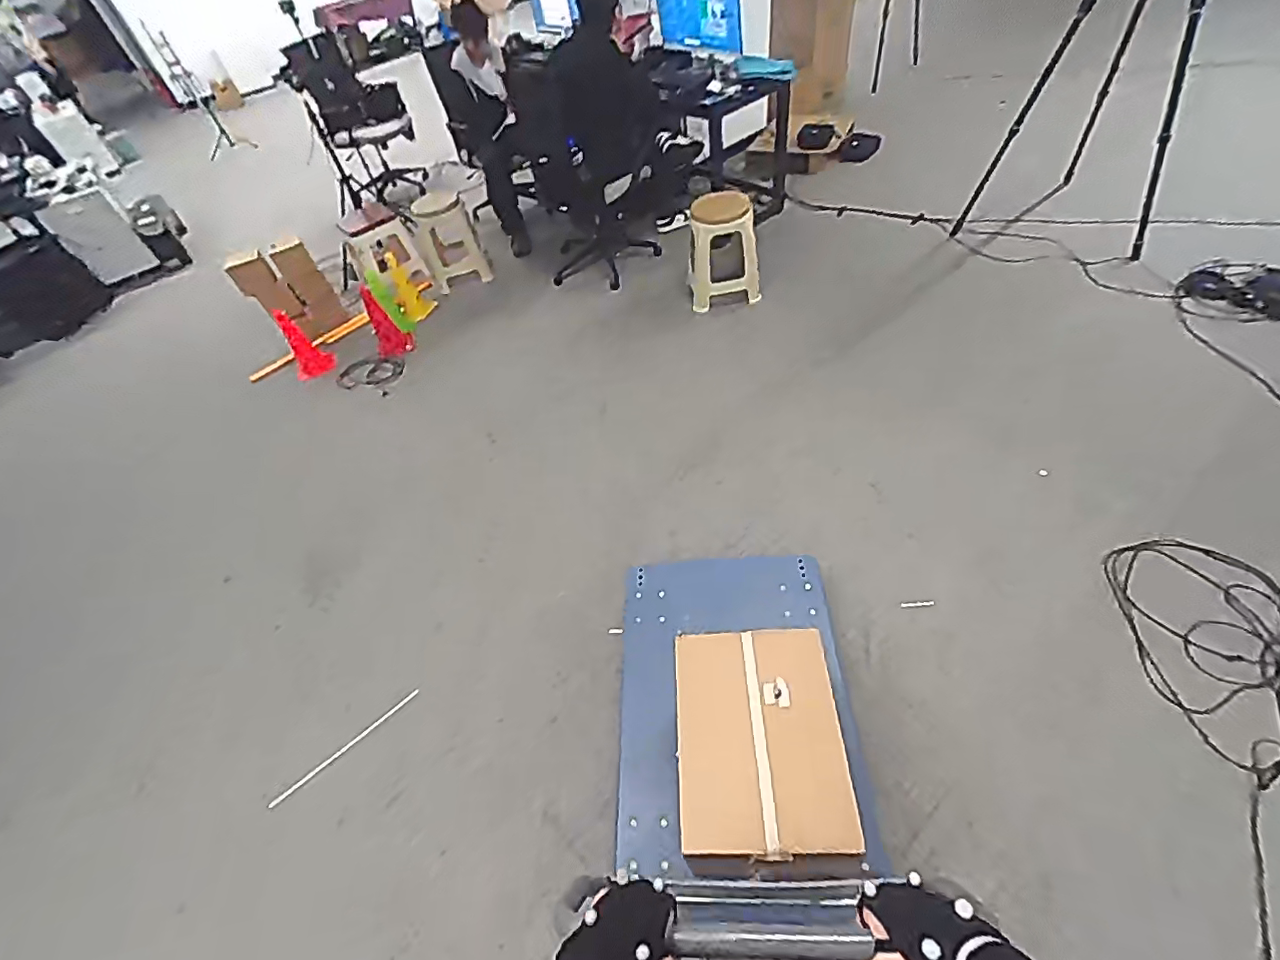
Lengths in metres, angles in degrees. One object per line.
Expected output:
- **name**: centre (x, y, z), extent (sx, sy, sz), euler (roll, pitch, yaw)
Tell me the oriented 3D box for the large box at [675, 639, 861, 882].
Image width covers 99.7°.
- **large box**: centre (0.251, 0.608, 1.175), extent (0.320, 0.320, 0.408), euler (-4, 48, 6)
